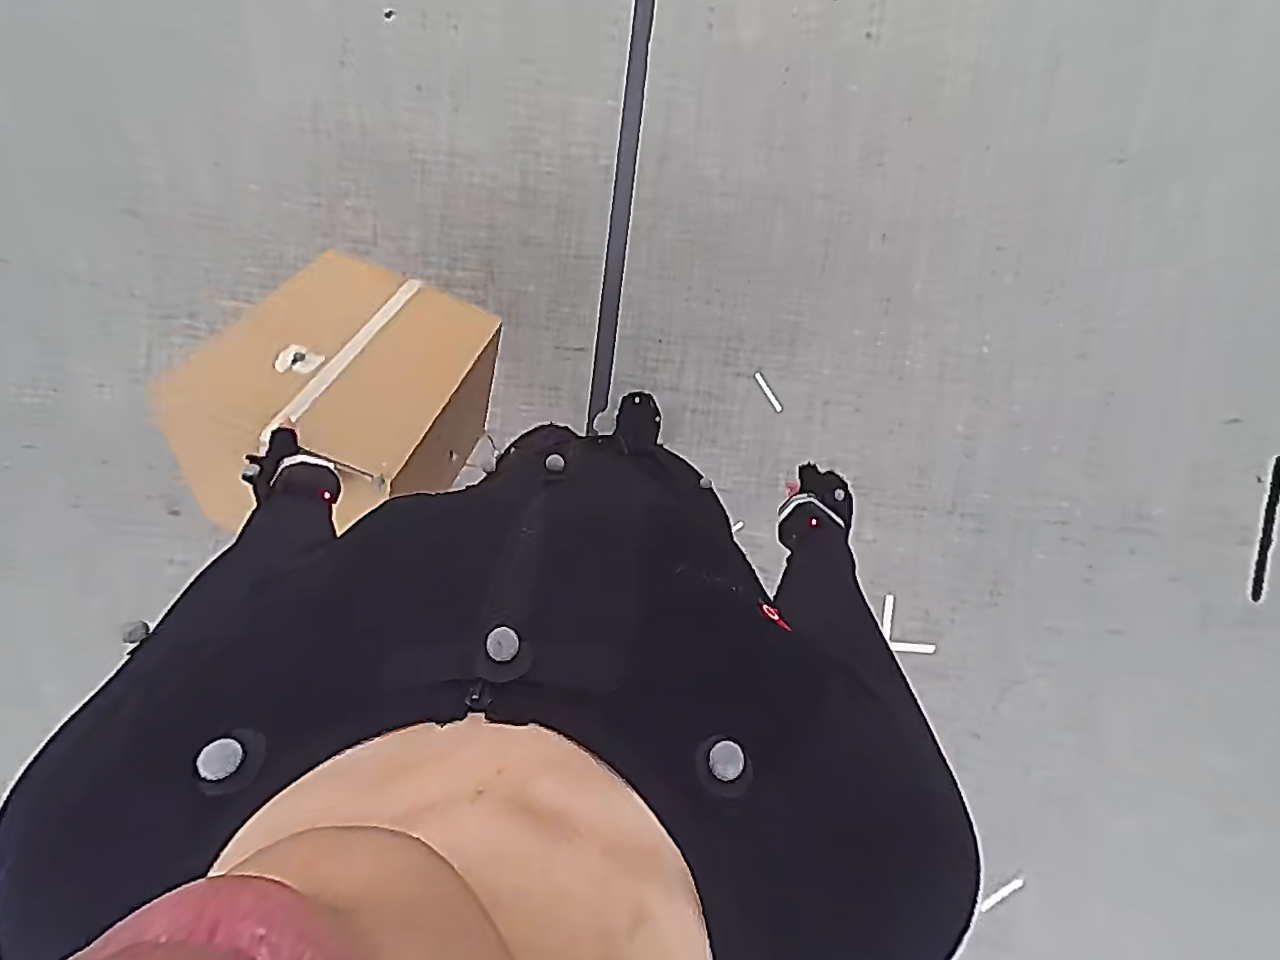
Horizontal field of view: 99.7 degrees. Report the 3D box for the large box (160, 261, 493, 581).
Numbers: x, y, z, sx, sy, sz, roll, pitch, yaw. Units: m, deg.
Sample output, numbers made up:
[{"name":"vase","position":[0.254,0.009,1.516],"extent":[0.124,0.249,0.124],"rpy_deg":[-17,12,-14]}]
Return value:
[{"name":"large box","position":[-0.488,-0.102,0.948],"extent":[0.320,0.408,0.320],"rpy_deg":[20,138,-6]}]
